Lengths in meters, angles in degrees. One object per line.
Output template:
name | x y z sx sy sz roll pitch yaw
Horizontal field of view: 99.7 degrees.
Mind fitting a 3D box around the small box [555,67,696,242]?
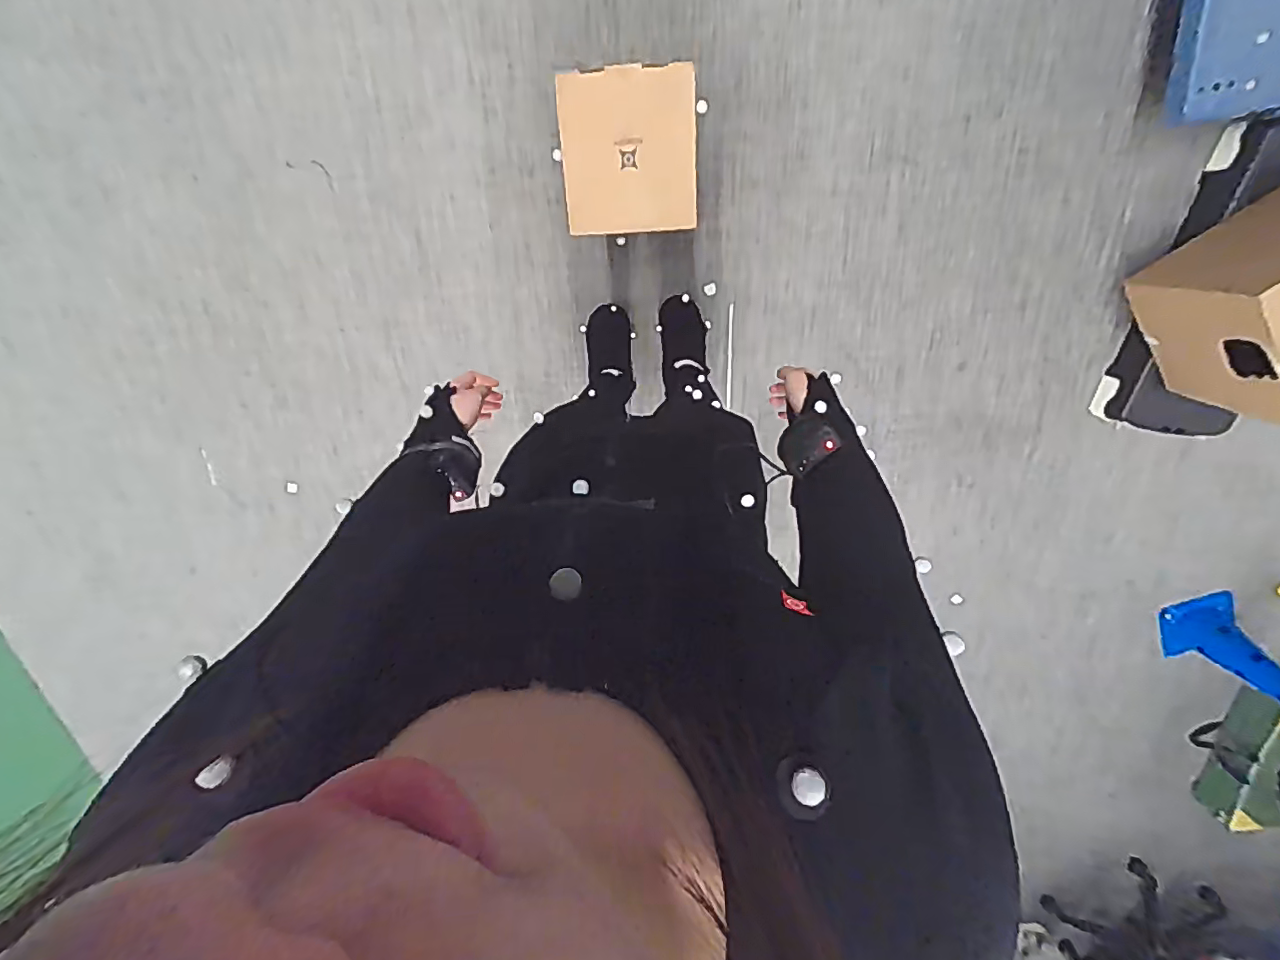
small box | -0.009 -0.421 0.724 0.168 0.176 0.179 -2 114 4
